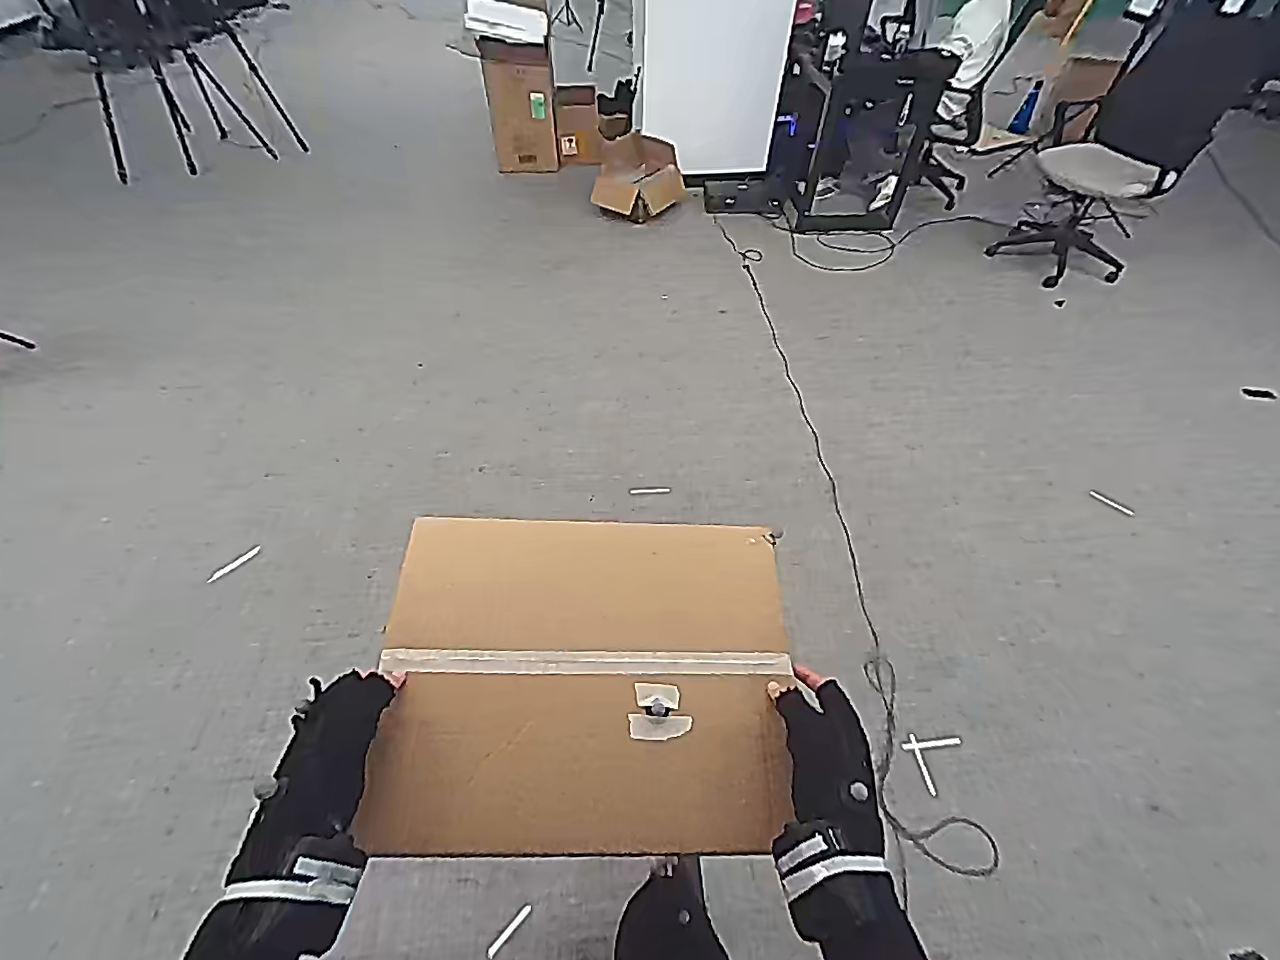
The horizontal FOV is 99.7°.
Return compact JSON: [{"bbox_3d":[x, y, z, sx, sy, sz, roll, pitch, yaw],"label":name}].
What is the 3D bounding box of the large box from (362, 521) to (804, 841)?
[{"bbox_3d":[-0.060,0.262,0.683,0.408,0.320,0.320,2,58,-4],"label":"large box"}]
